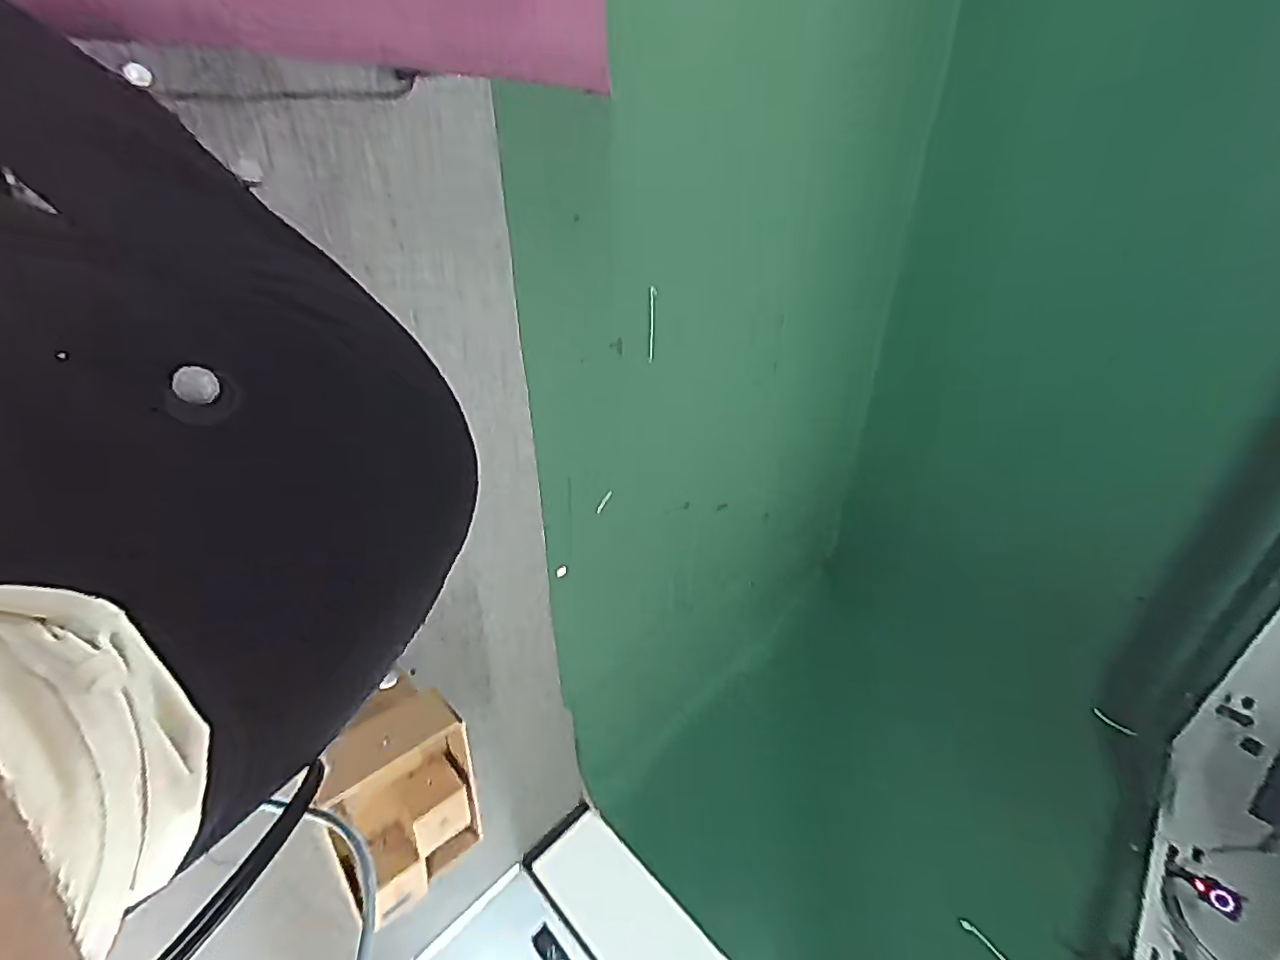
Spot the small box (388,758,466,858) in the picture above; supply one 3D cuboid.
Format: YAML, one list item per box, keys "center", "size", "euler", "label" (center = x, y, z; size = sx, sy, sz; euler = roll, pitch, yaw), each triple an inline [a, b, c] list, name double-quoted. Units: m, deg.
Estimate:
- center: [-0.659, 0.999, 1.669]
  size: [0.168, 0.176, 0.179]
  euler: [-21, 126, -40]
  label: "small box"
